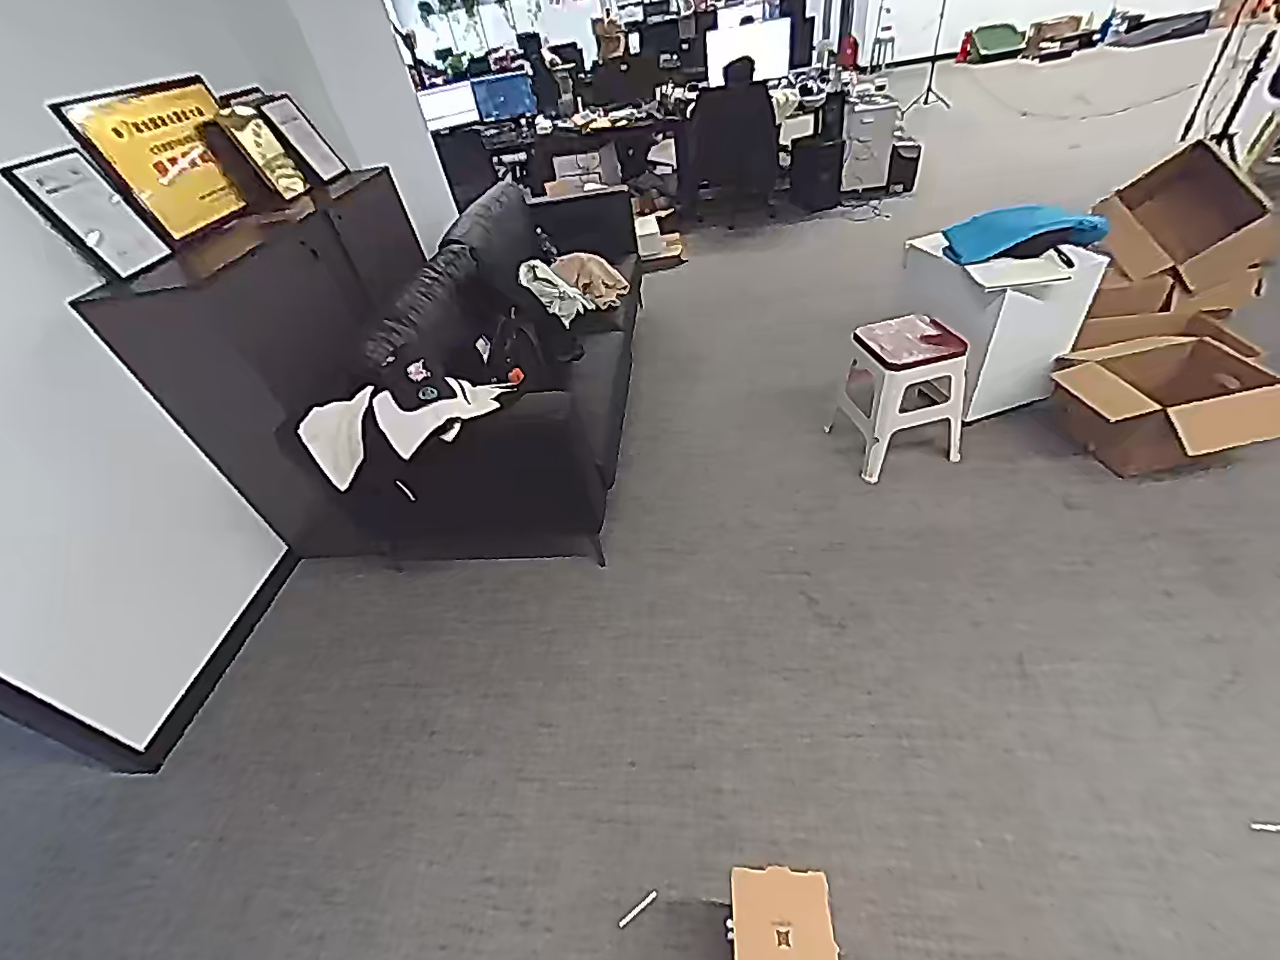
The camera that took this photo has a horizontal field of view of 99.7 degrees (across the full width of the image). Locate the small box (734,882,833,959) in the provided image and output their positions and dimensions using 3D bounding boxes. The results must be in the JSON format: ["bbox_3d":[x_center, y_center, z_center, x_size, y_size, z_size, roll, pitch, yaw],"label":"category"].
[{"bbox_3d":[0.279,0.916,1.061,0.179,0.176,0.168,-3,42,10],"label":"small box"}]
